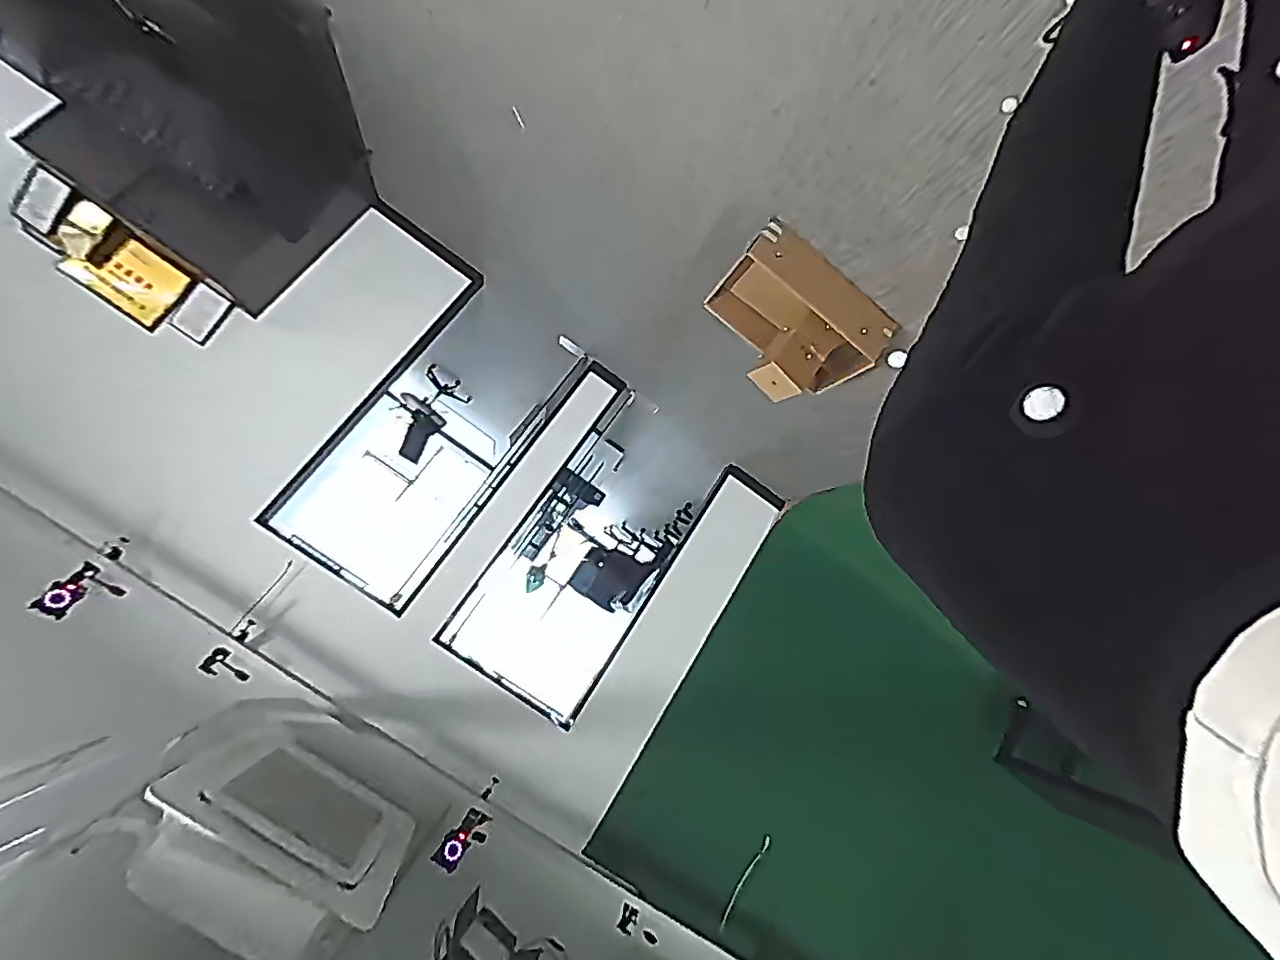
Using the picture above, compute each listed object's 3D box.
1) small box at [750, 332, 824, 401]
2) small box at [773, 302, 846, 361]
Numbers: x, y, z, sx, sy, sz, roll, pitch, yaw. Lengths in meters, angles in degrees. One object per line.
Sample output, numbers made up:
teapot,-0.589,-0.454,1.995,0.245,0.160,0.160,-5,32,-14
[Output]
small box,0.561,-0.430,2.054,0.168,0.176,0.179,42,162,-14
small box,0.658,-0.554,2.097,0.168,0.176,0.179,41,162,-10
